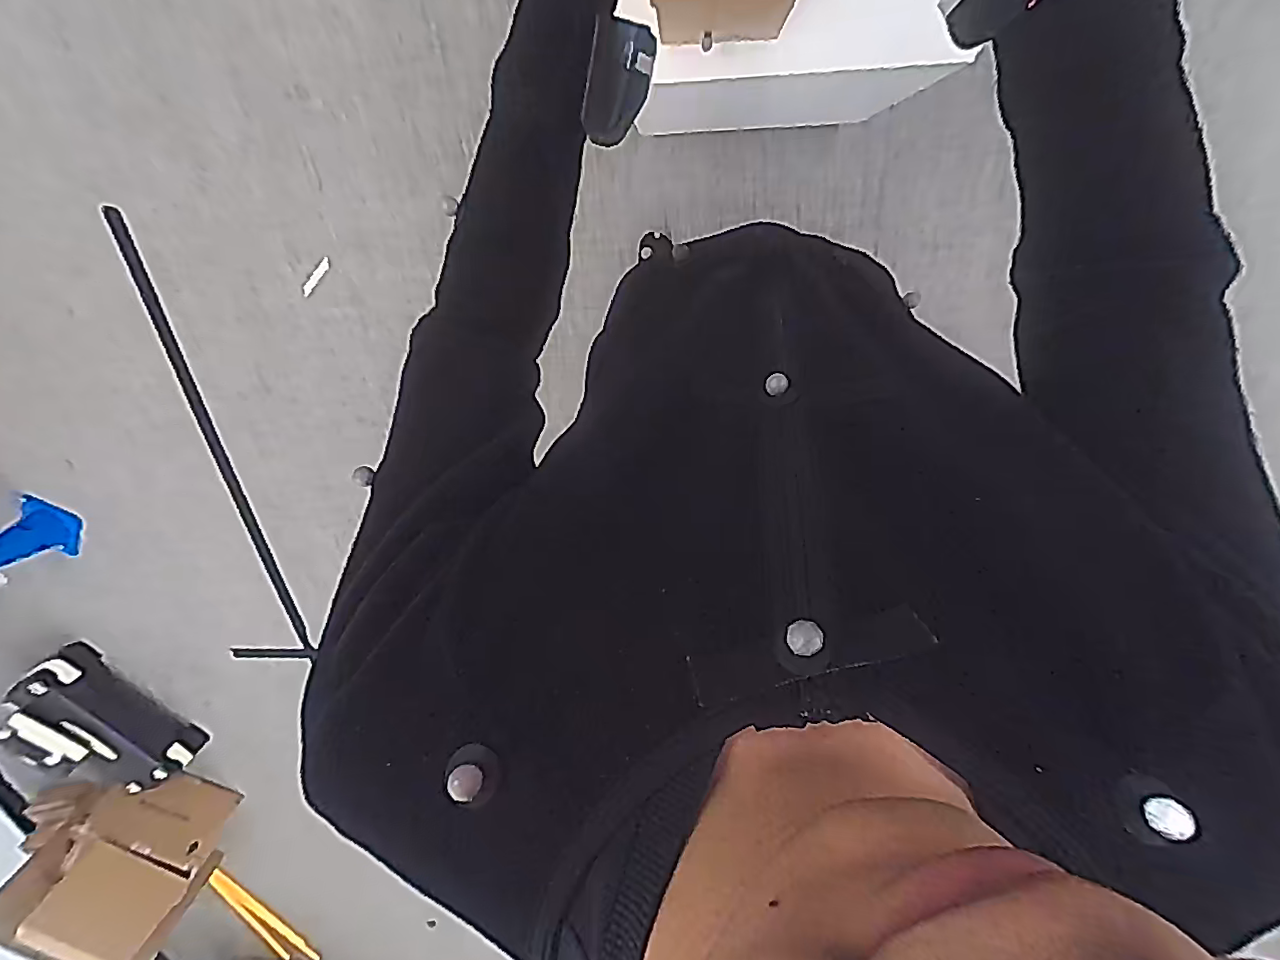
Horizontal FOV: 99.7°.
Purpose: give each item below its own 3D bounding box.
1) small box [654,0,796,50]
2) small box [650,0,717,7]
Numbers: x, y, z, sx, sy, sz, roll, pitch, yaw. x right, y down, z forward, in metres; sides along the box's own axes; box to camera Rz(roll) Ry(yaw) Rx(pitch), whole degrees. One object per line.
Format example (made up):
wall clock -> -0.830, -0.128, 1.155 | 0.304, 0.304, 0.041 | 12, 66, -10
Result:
small box -> 0.100, -0.652, 0.650 | 0.168, 0.176, 0.179 | 1, 116, 4
small box -> 0.082, -0.581, 0.503 | 0.179, 0.176, 0.168 | -3, 114, 7
